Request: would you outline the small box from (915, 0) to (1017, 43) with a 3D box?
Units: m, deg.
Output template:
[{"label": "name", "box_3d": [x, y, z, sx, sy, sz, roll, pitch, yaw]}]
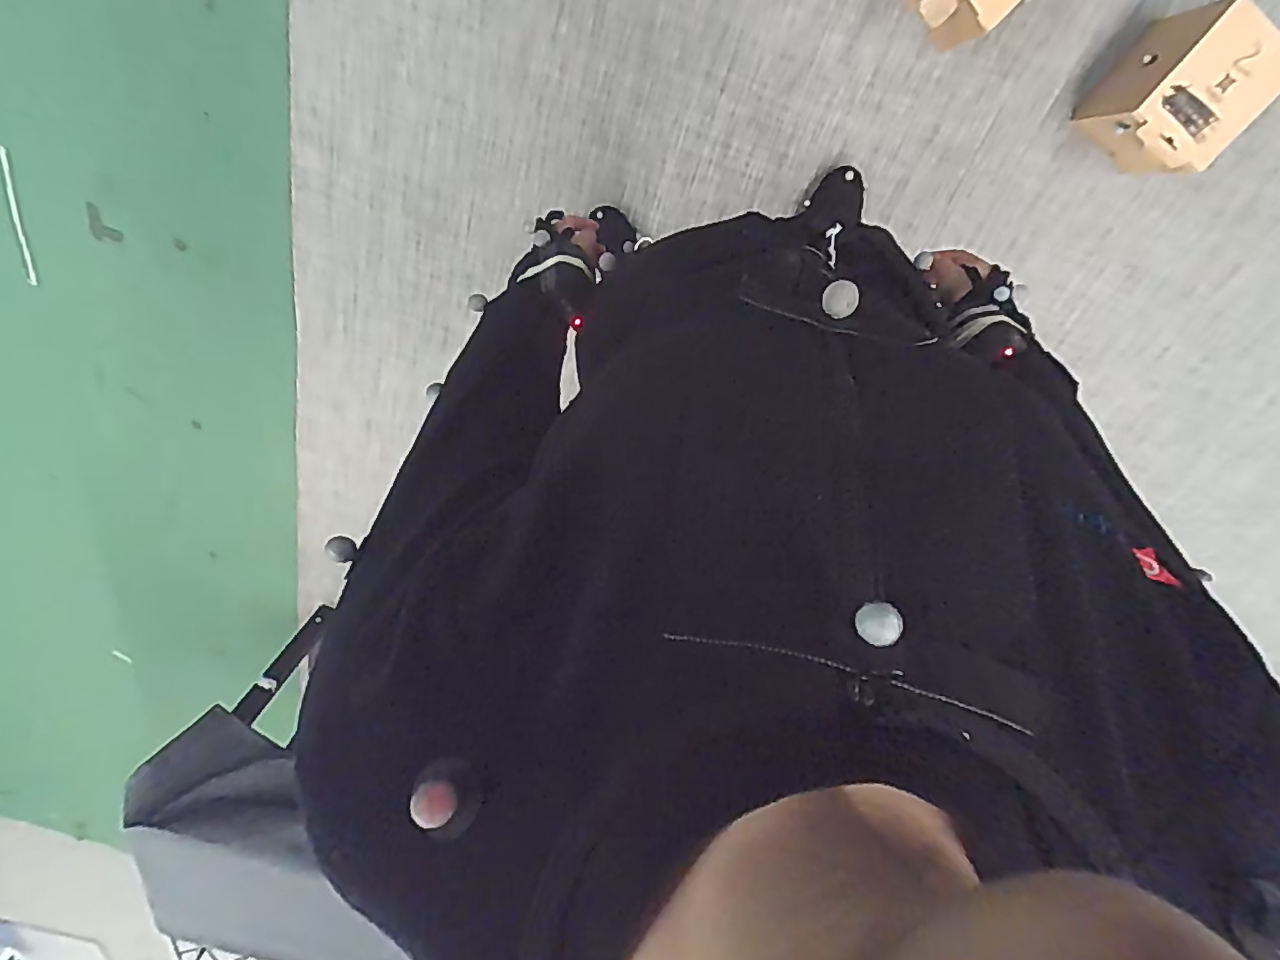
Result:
[{"label": "small box", "box_3d": [0.541, -0.835, 0.837, 0.168, 0.176, 0.179, 41, 116, -18]}]
